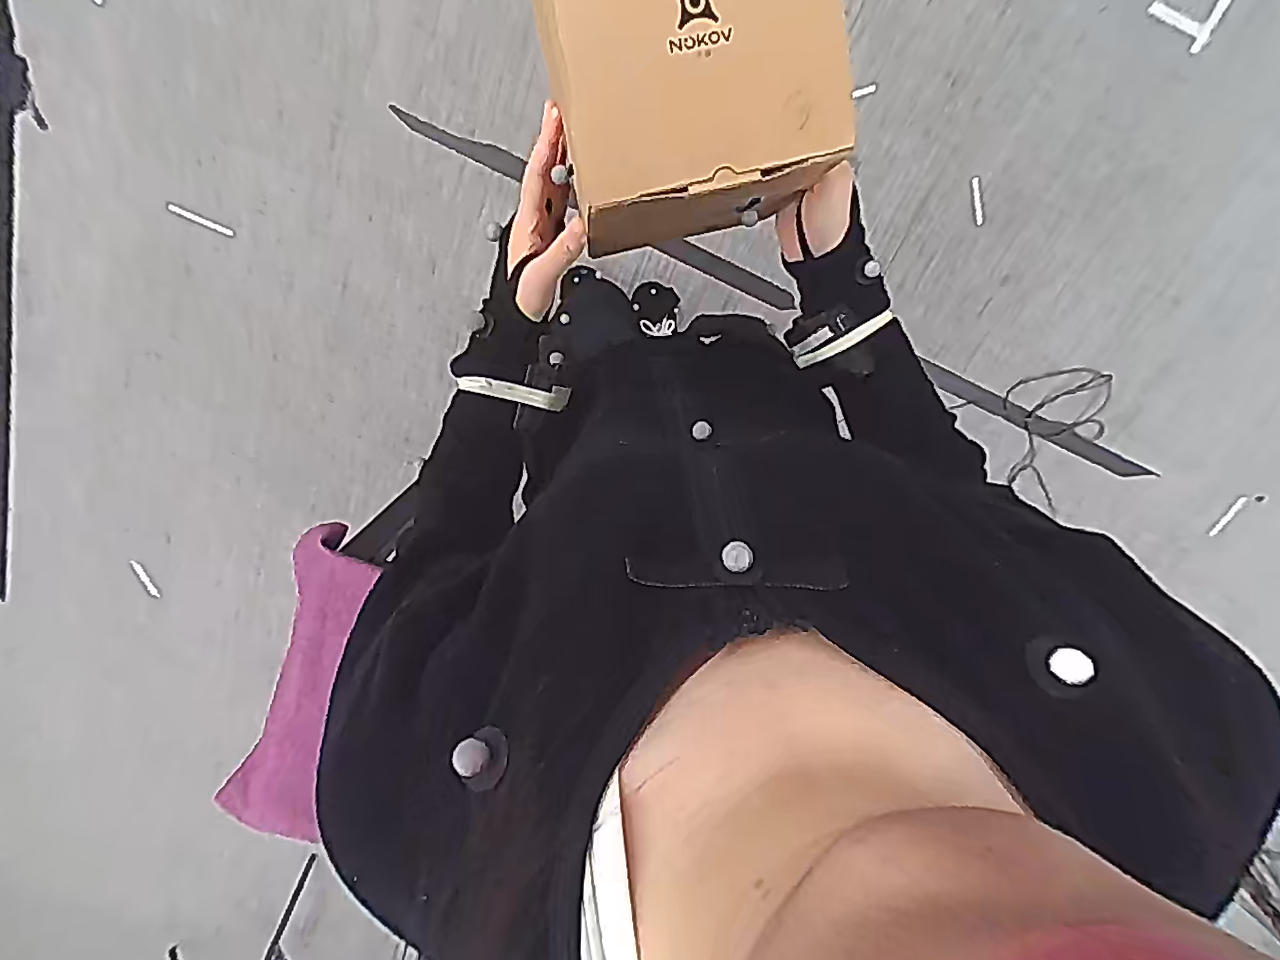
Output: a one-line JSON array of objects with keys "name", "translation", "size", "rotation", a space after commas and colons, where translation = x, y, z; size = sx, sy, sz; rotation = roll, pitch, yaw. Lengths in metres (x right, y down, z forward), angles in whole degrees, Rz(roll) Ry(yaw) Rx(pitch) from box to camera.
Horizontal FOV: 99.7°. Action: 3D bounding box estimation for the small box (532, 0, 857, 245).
[{"name": "small box", "translation": [0.024, -0.275, 0.371], "size": [0.168, 0.176, 0.179], "rotation": [-14, 103, -3]}]
